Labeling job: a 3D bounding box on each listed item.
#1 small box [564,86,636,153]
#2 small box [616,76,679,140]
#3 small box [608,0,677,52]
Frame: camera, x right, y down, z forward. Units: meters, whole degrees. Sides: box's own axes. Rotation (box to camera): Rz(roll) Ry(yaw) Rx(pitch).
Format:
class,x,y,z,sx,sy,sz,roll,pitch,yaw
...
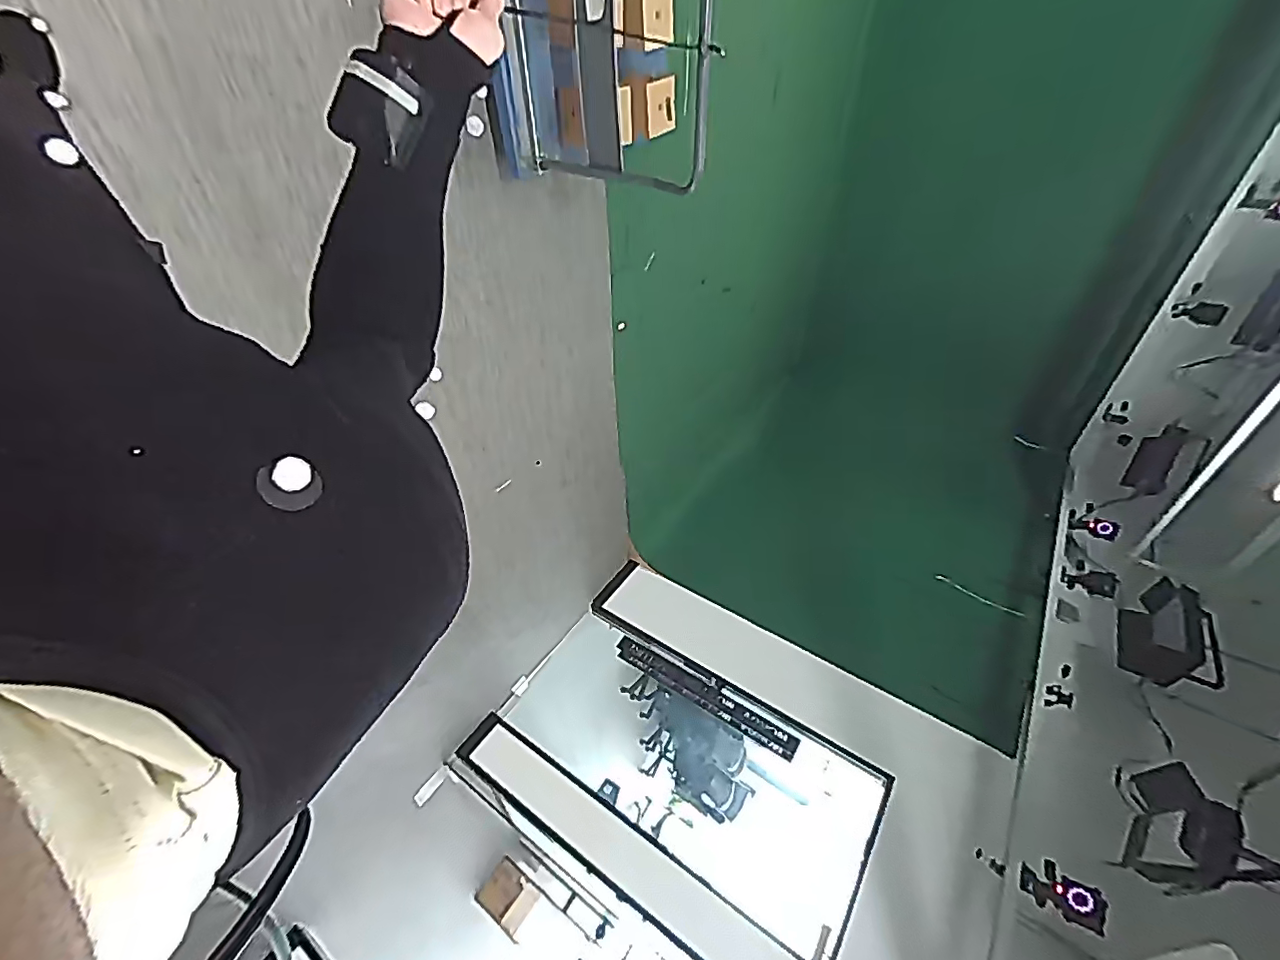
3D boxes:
class,x,y,z,sx,sy,sz,roll,pitch,yaw
small box,-0.132,-1.209,1.808,0.179,0.176,0.168,-42,144,-37
small box,0.026,-1.358,1.969,0.179,0.176,0.168,-45,145,-33
small box,0.006,-1.537,1.794,0.179,0.176,0.168,-46,147,-34
